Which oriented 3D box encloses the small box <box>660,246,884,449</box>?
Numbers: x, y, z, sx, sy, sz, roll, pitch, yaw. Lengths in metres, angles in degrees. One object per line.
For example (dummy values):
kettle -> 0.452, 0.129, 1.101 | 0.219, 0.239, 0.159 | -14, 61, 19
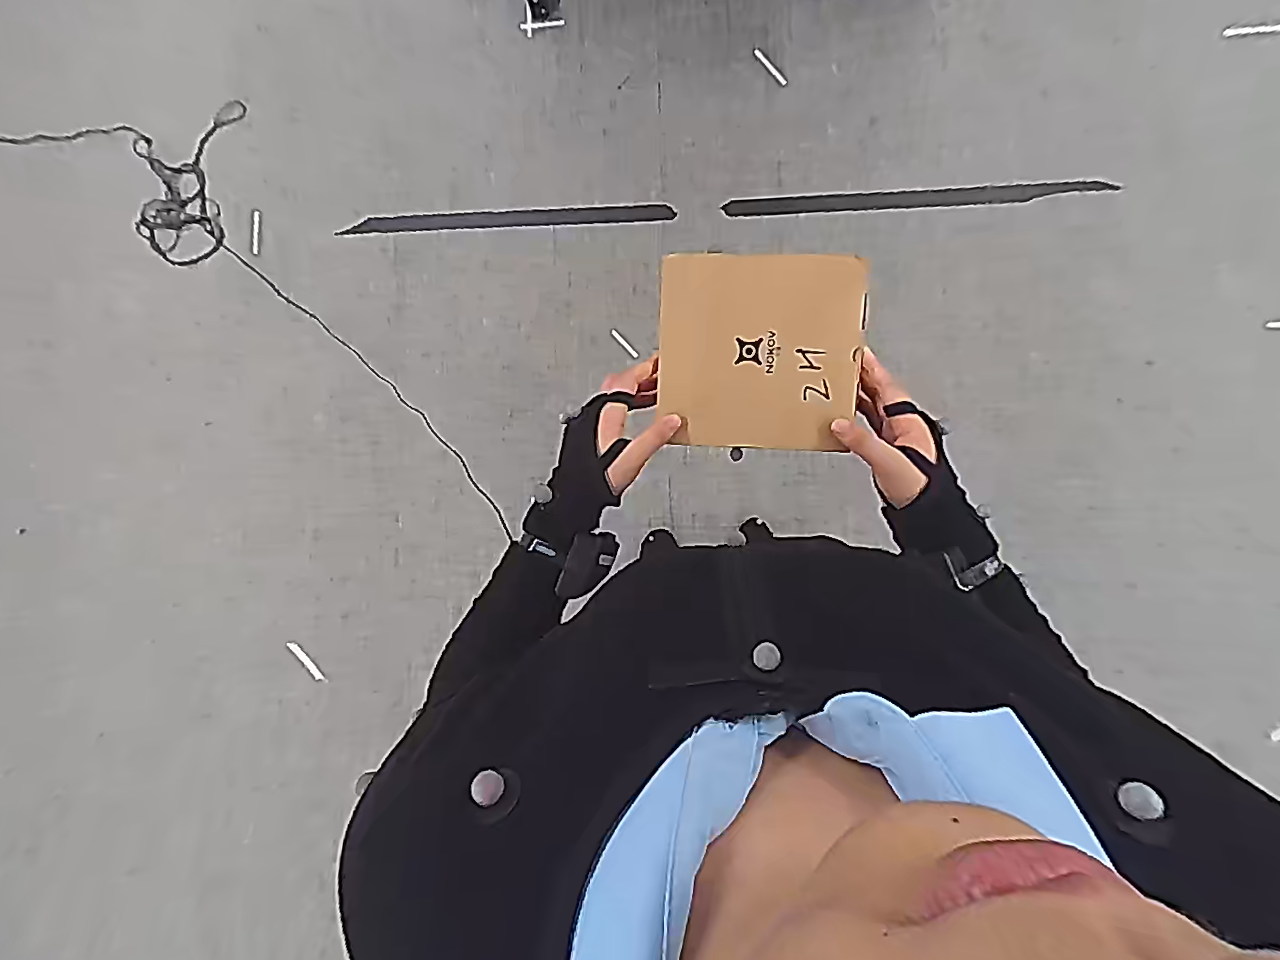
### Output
small box -> 0.118, -0.121, 0.537 | 0.179, 0.176, 0.168 | 4, 98, 6
